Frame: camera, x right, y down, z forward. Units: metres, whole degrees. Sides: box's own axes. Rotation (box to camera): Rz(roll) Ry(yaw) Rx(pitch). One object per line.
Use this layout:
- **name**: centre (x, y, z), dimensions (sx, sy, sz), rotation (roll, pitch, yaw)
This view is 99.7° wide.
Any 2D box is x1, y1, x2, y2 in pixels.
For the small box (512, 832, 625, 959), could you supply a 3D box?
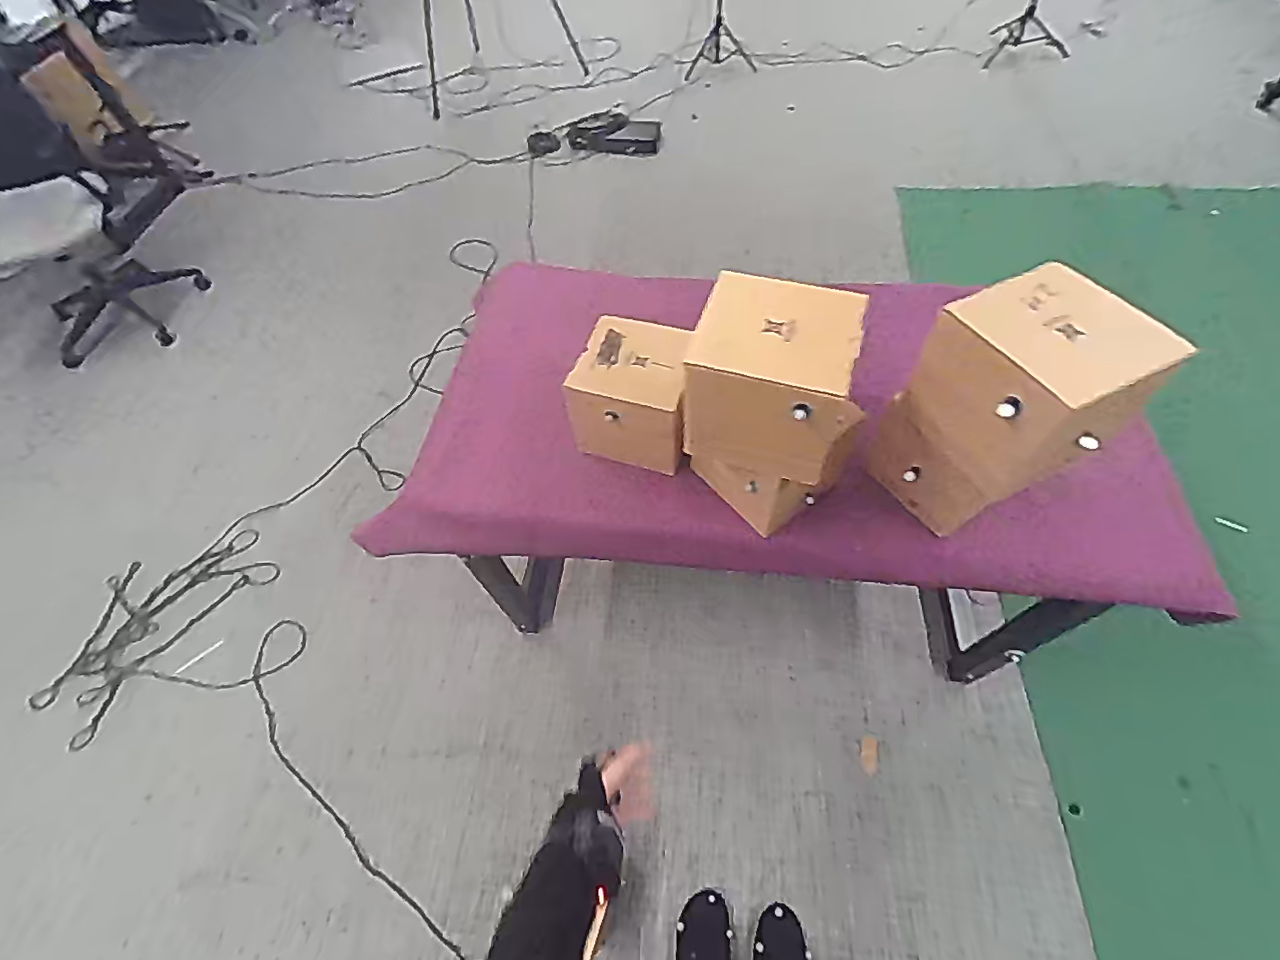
- **small box**: centre (-0.137, 0.858, 1.118), dimensions (0.168, 0.176, 0.179), rotation (15, 59, 15)

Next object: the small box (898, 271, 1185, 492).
- **small box**: centre (0.448, -0.107, 0.640), dimensions (0.168, 0.176, 0.179), rotation (-23, 56, -11)

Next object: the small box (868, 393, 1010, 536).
- **small box**: centre (0.464, -0.047, 0.798), dimensions (0.179, 0.176, 0.168), rotation (-29, 58, -14)

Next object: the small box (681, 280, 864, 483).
- **small box**: centre (0.157, -0.117, 0.673), dimensions (0.179, 0.176, 0.168), rotation (15, 59, 13)
